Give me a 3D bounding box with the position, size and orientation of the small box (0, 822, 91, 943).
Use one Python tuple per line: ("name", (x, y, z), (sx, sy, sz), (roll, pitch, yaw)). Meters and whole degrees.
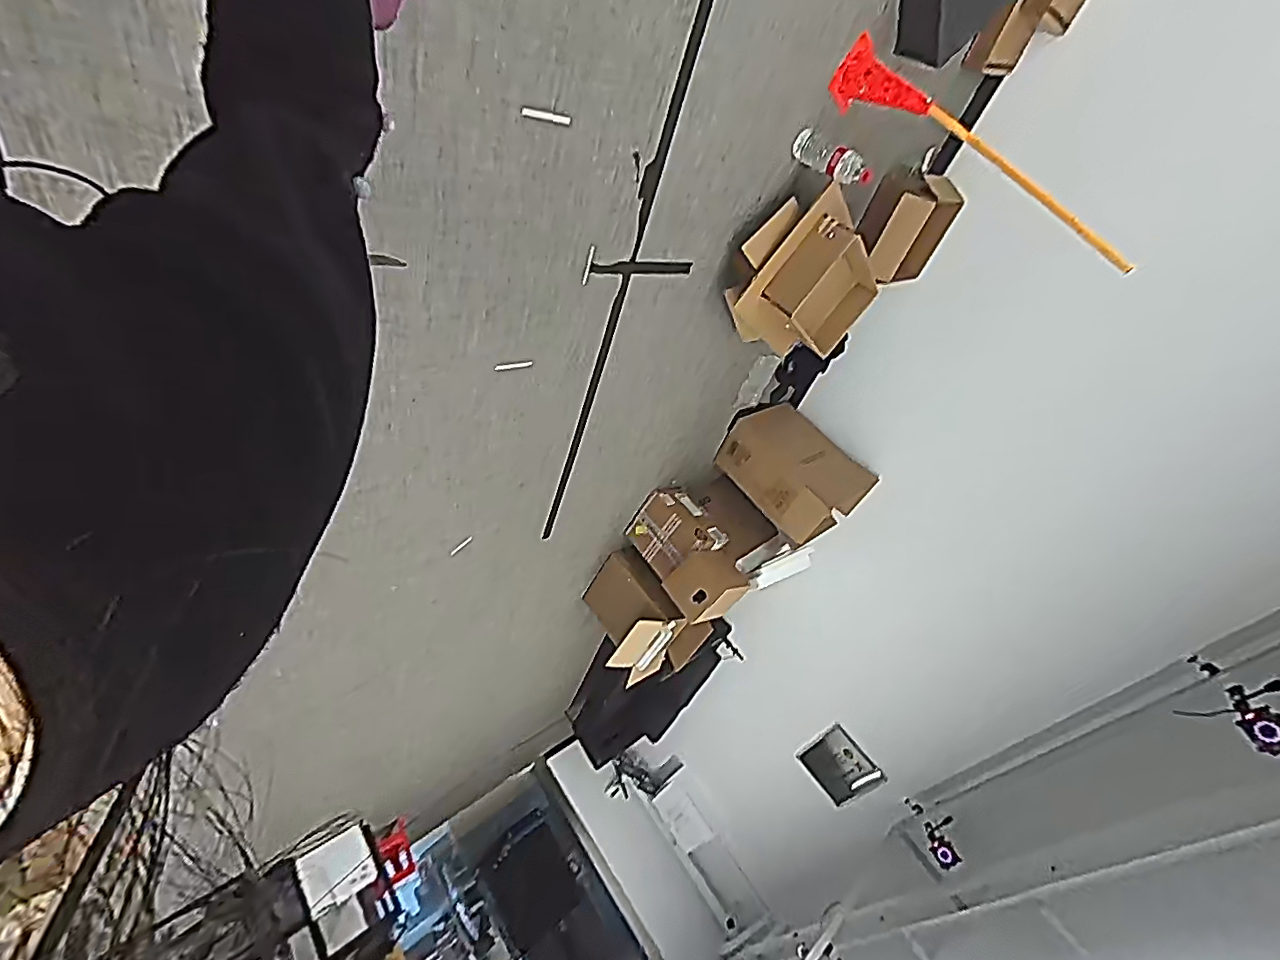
("small box", (-1.566, 1.031, 1.399), (0.168, 0.176, 0.179), (-15, 142, -43))
